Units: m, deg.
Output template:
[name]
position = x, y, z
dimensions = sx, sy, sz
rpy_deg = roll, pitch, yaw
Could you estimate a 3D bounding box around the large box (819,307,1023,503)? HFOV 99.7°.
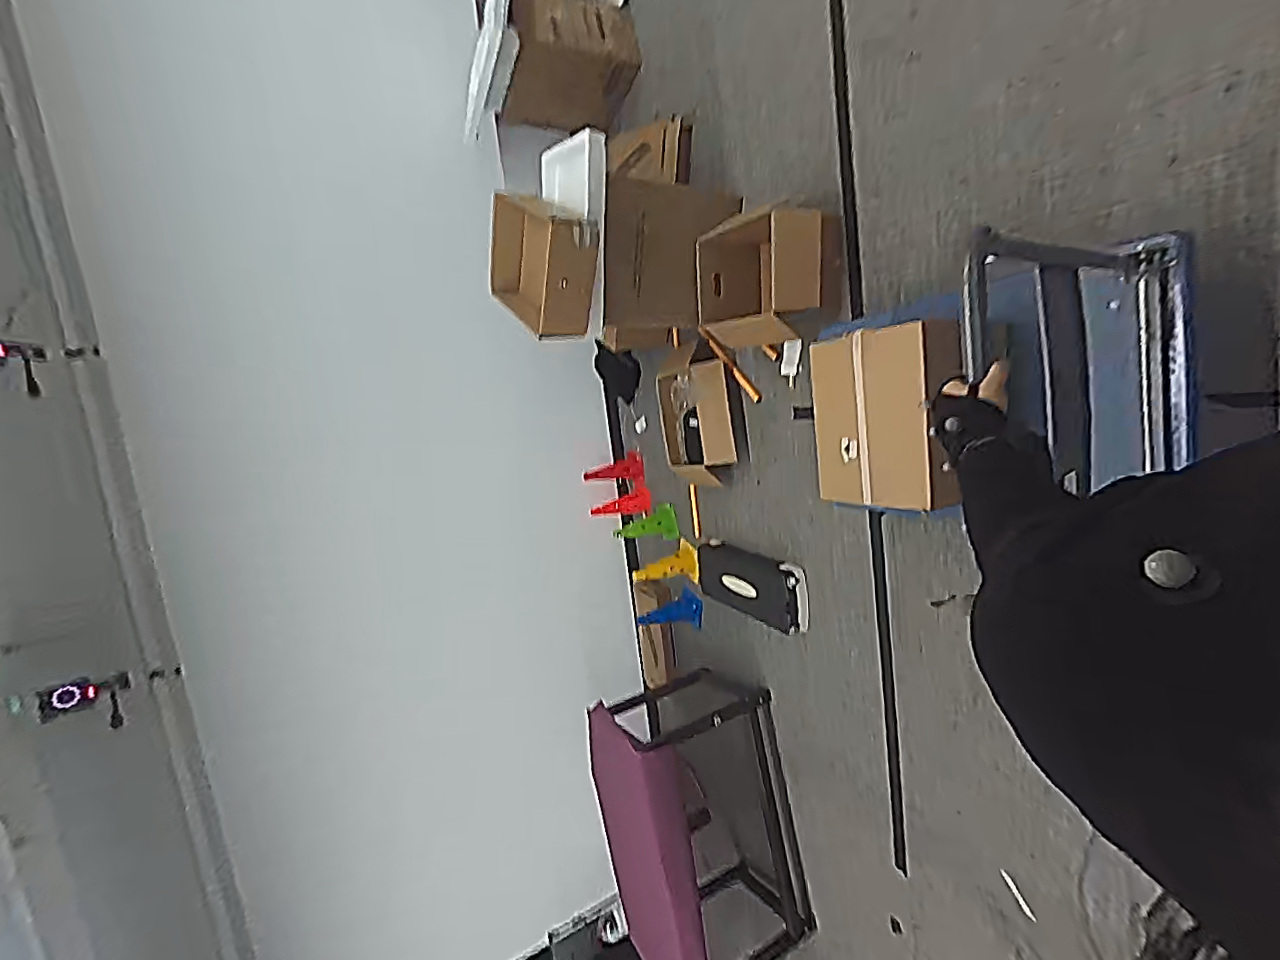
[large box]
position = 0.682, -0.181, 1.323
dimensions = 0.320, 0.320, 0.408
rpy_deg = 7, 107, 63
